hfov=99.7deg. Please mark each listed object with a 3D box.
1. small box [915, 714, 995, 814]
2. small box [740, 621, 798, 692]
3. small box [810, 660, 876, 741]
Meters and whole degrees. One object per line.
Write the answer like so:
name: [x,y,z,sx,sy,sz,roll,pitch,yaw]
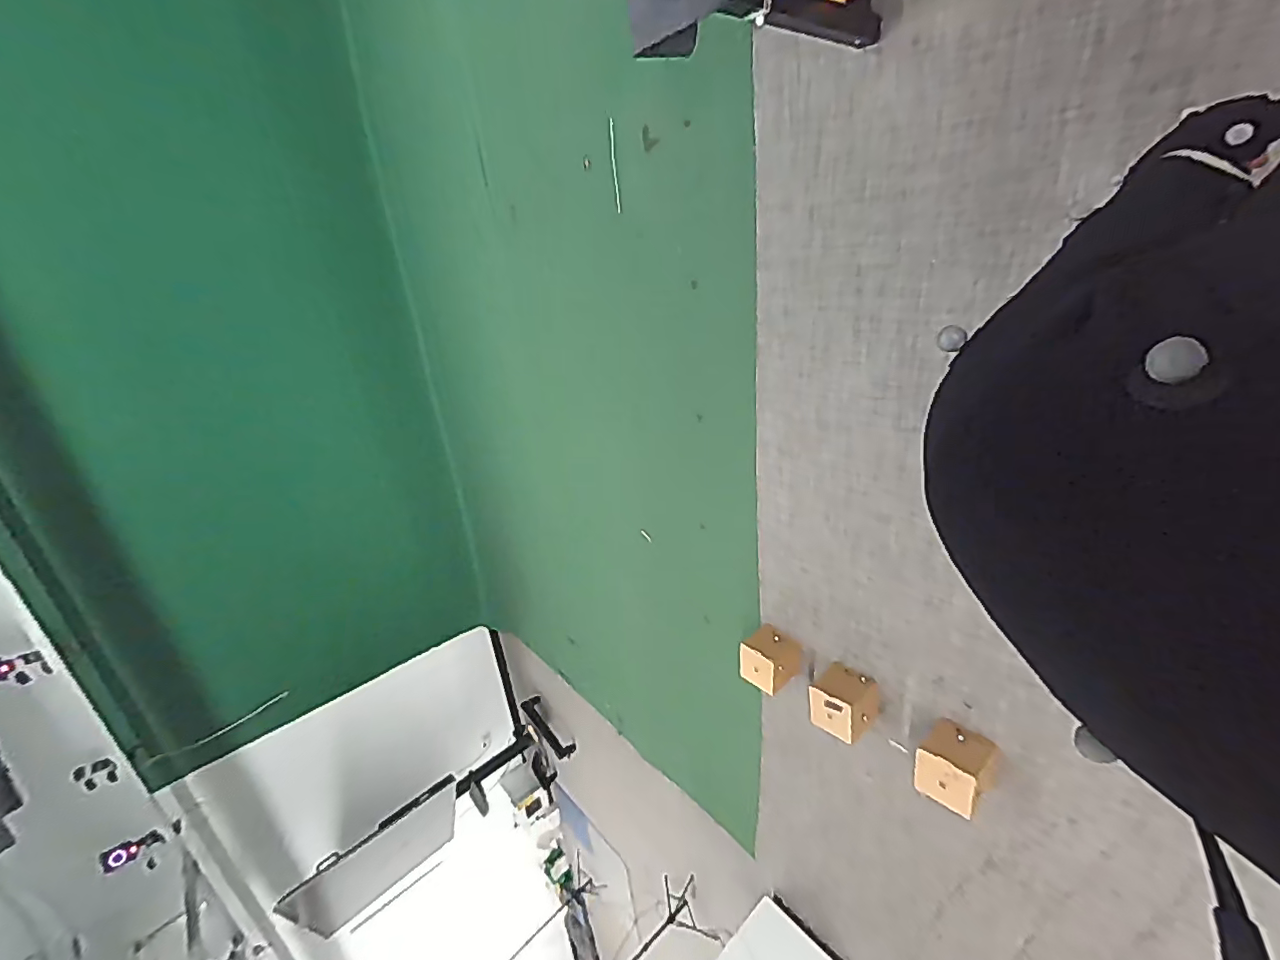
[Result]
small box: [0.978,0.874,1.678,0.168,0.176,0.179,17,121,46]
small box: [0.522,0.708,2.181,0.168,0.176,0.179,21,124,44]
small box: [0.733,0.785,1.948,0.168,0.176,0.179,15,121,48]
